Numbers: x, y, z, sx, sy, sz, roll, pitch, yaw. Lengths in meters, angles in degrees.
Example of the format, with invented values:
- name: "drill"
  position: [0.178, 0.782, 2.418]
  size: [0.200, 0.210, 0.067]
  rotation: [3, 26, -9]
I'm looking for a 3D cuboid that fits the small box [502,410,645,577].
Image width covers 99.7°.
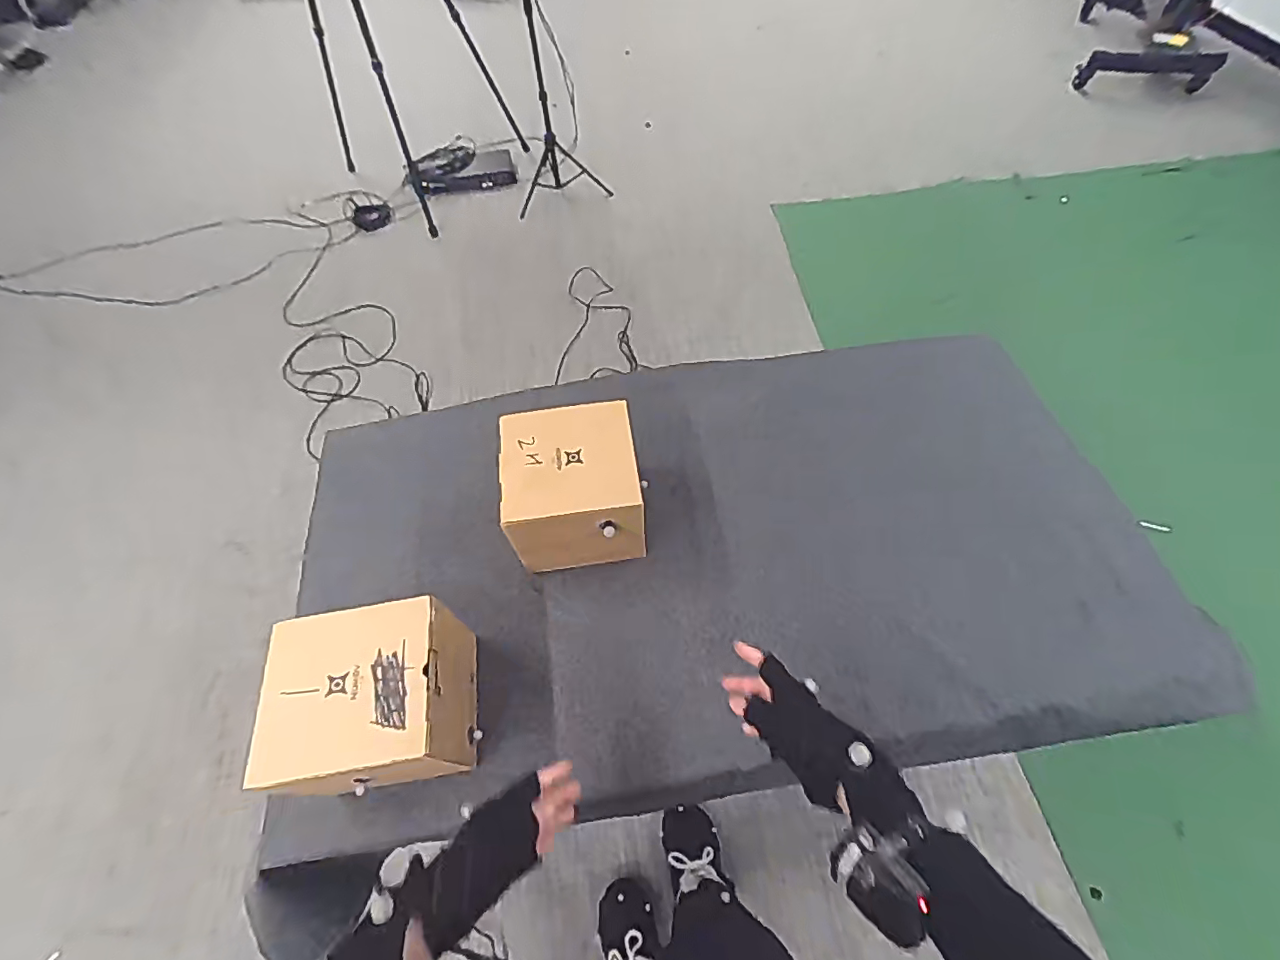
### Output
- name: "small box"
  position: [-0.090, 0.025, 0.763]
  size: [0.179, 0.176, 0.168]
  rotation: [-7, 59, -3]

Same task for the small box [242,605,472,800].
- name: "small box"
  position: [-0.300, 0.260, 0.623]
  size: [0.179, 0.176, 0.168]
  rotation: [-9, 57, -3]
